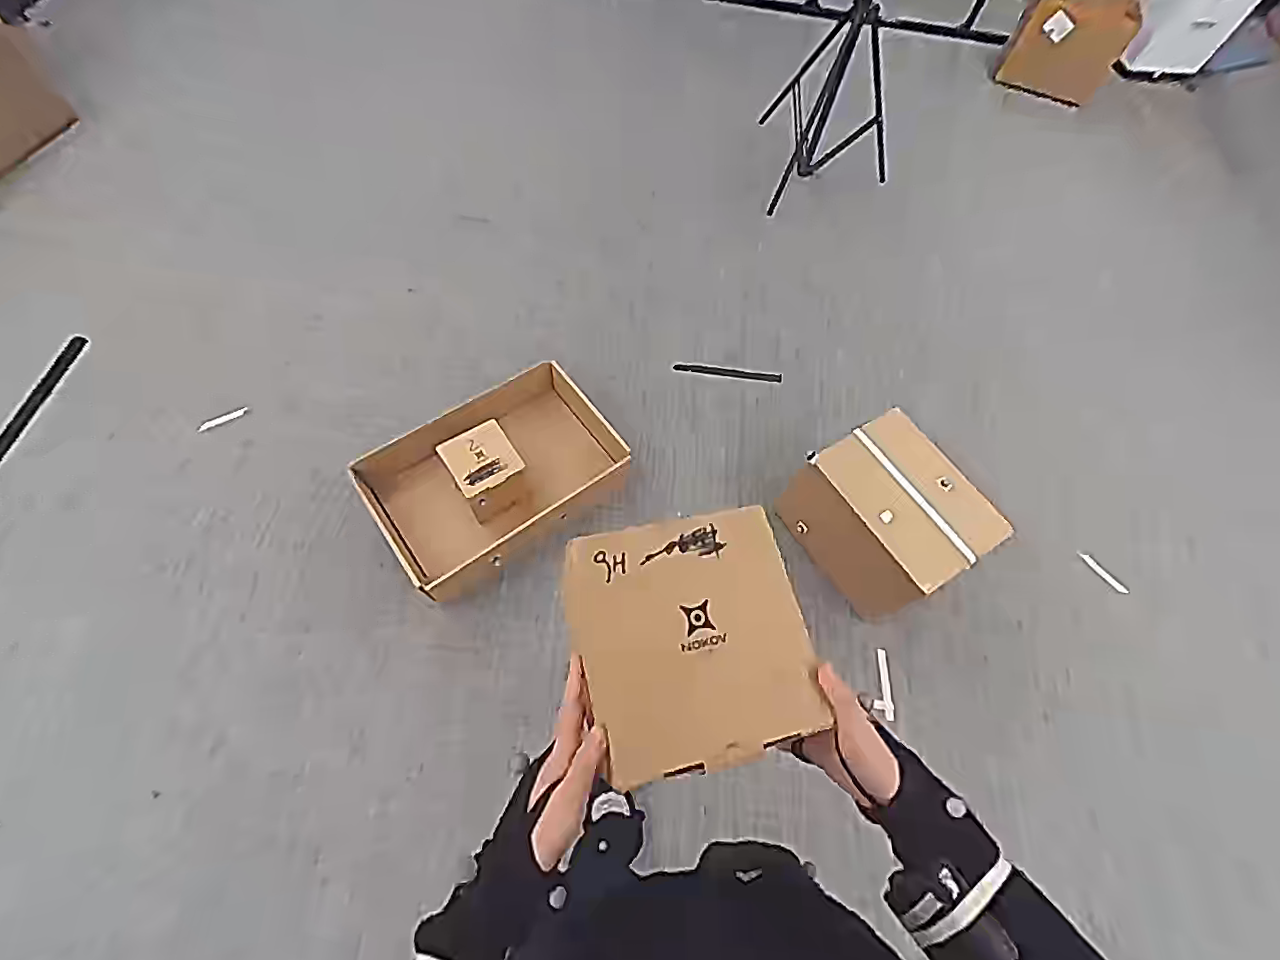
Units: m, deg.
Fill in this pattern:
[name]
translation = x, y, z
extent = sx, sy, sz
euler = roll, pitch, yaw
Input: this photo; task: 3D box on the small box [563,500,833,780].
[small box]
translation = 0.031, 0.136, 0.473
extent = 0.168, 0.176, 0.179
euler = -8, 69, -15
